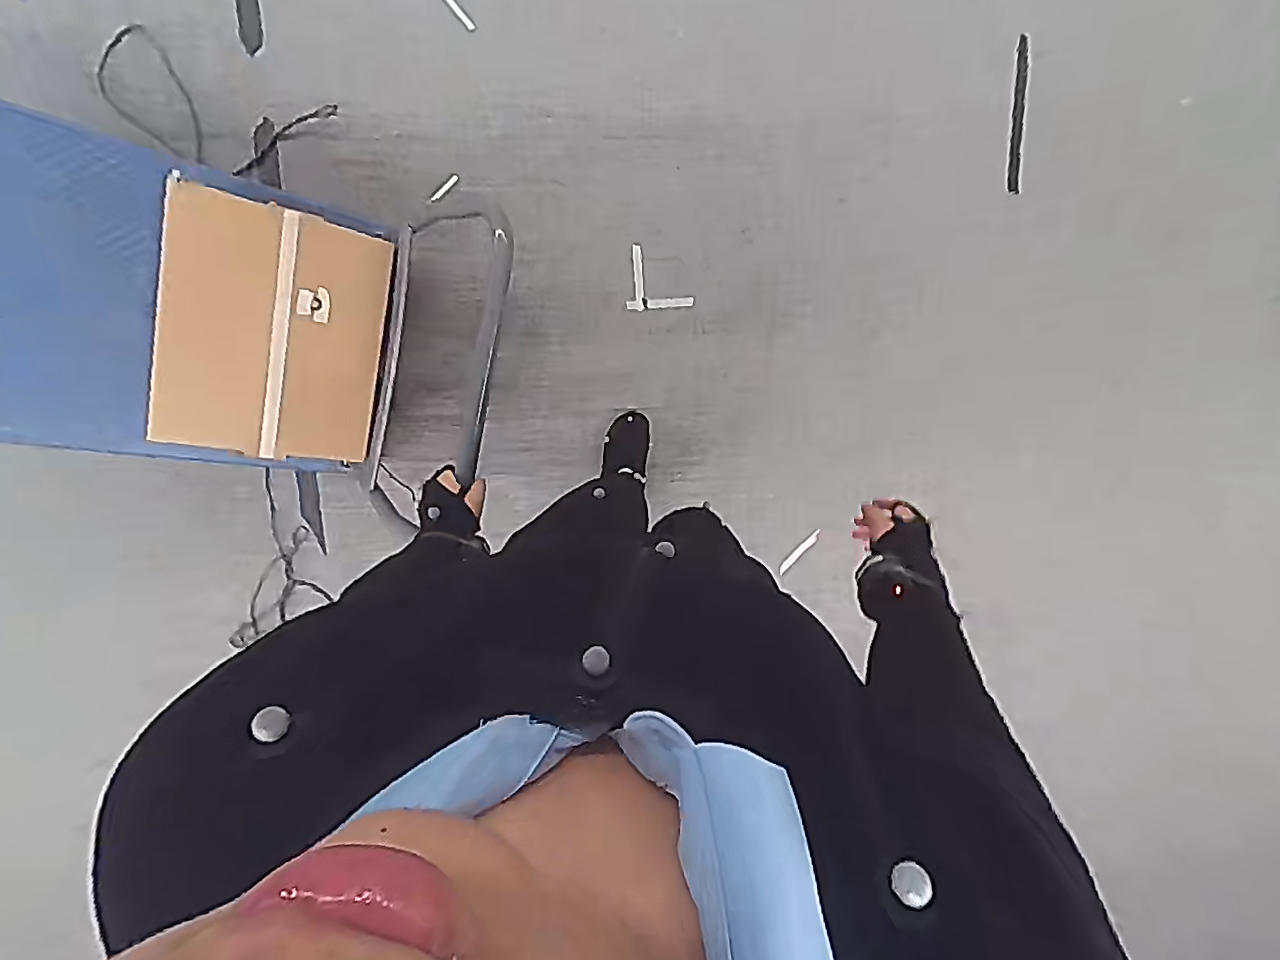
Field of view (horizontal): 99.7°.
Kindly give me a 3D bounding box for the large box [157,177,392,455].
[{"bbox_3d":[-0.682,-0.280,1.038,0.320,0.320,0.408,6,100,-33],"label":"large box"}]
